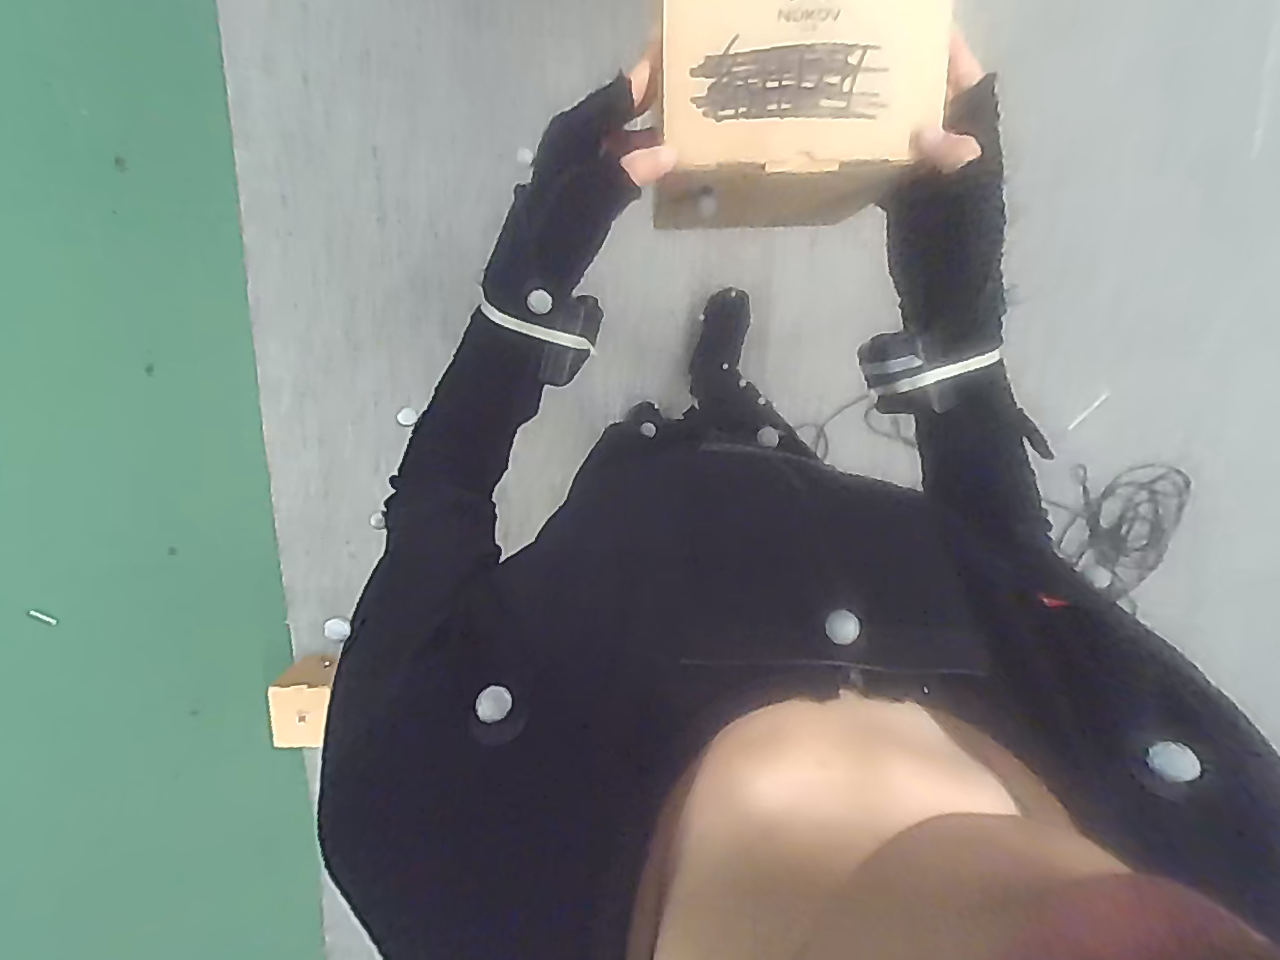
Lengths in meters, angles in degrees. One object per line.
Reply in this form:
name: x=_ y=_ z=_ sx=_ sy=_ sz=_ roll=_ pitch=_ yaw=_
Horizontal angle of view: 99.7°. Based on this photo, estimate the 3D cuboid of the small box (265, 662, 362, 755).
small box: x=-0.882 y=0.620 z=1.478 sx=0.168 sy=0.176 sz=0.179 roll=0 pitch=99 yaw=-1
